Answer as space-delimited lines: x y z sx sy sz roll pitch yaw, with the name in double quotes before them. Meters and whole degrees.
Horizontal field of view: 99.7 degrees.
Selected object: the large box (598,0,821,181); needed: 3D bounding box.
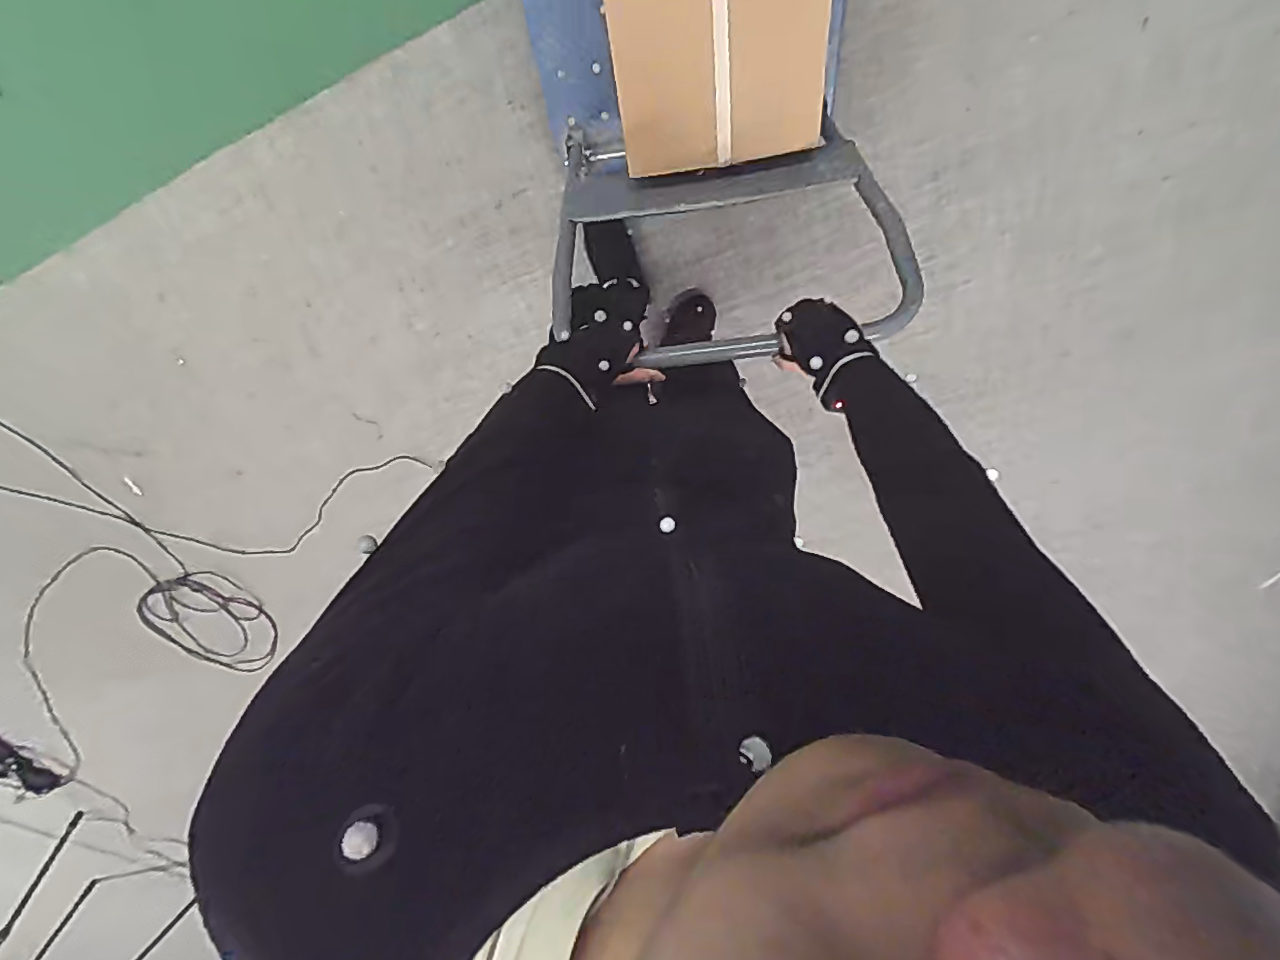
"large box" 0.099 -0.764 0.862 0.320 0.320 0.408 -6 136 5
